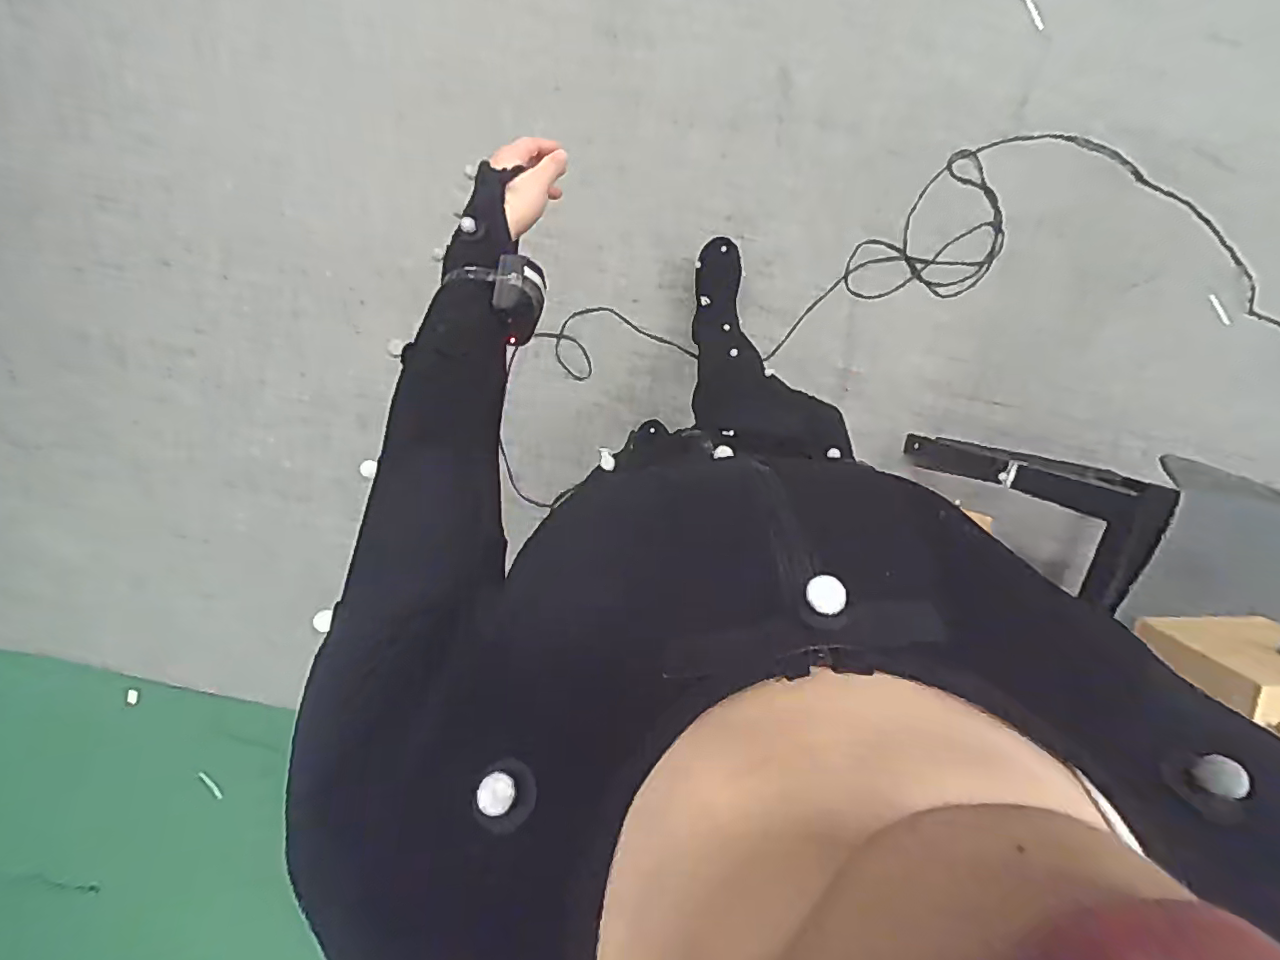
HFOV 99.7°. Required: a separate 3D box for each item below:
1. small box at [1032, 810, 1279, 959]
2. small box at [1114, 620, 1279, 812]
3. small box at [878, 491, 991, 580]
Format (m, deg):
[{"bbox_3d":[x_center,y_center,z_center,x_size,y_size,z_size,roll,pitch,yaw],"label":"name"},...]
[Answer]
[{"bbox_3d":[0.712,0.625,0.767,0.168,0.176,0.179,31,100,-8],"label":"small box"},{"bbox_3d":[0.776,0.291,0.694,0.179,0.176,0.168,-1,102,2],"label":"small box"},{"bbox_3d":[0.755,0.137,1.410,0.179,0.176,0.168,16,101,-2],"label":"small box"}]
